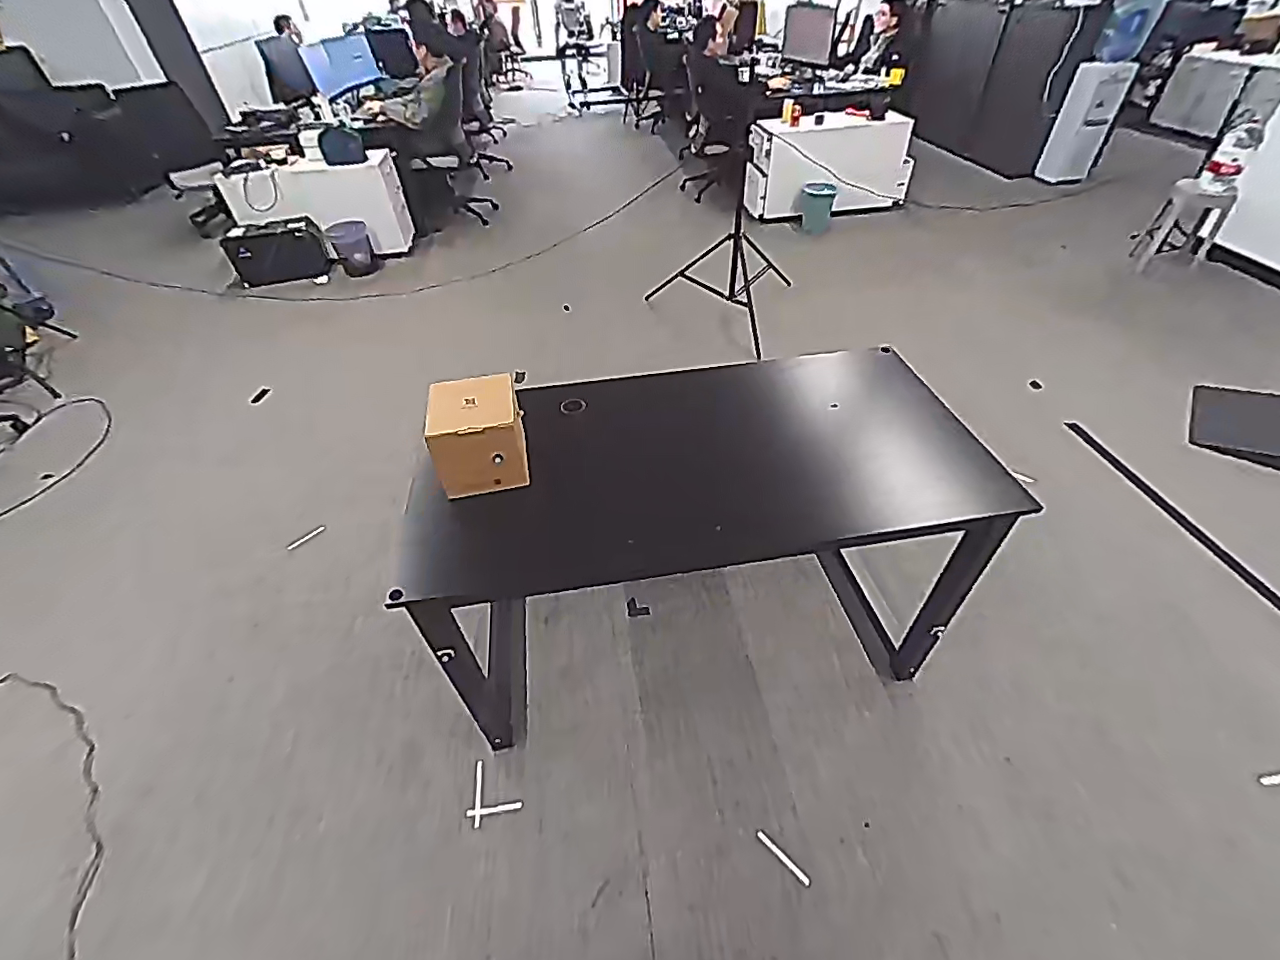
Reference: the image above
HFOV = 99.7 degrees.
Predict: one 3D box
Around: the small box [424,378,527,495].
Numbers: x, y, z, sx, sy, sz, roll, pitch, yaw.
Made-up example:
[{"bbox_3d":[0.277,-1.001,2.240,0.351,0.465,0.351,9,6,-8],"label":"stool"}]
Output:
[{"bbox_3d":[-0.333,-0.084,1.116,0.168,0.176,0.179,-10,44,-9],"label":"small box"}]
